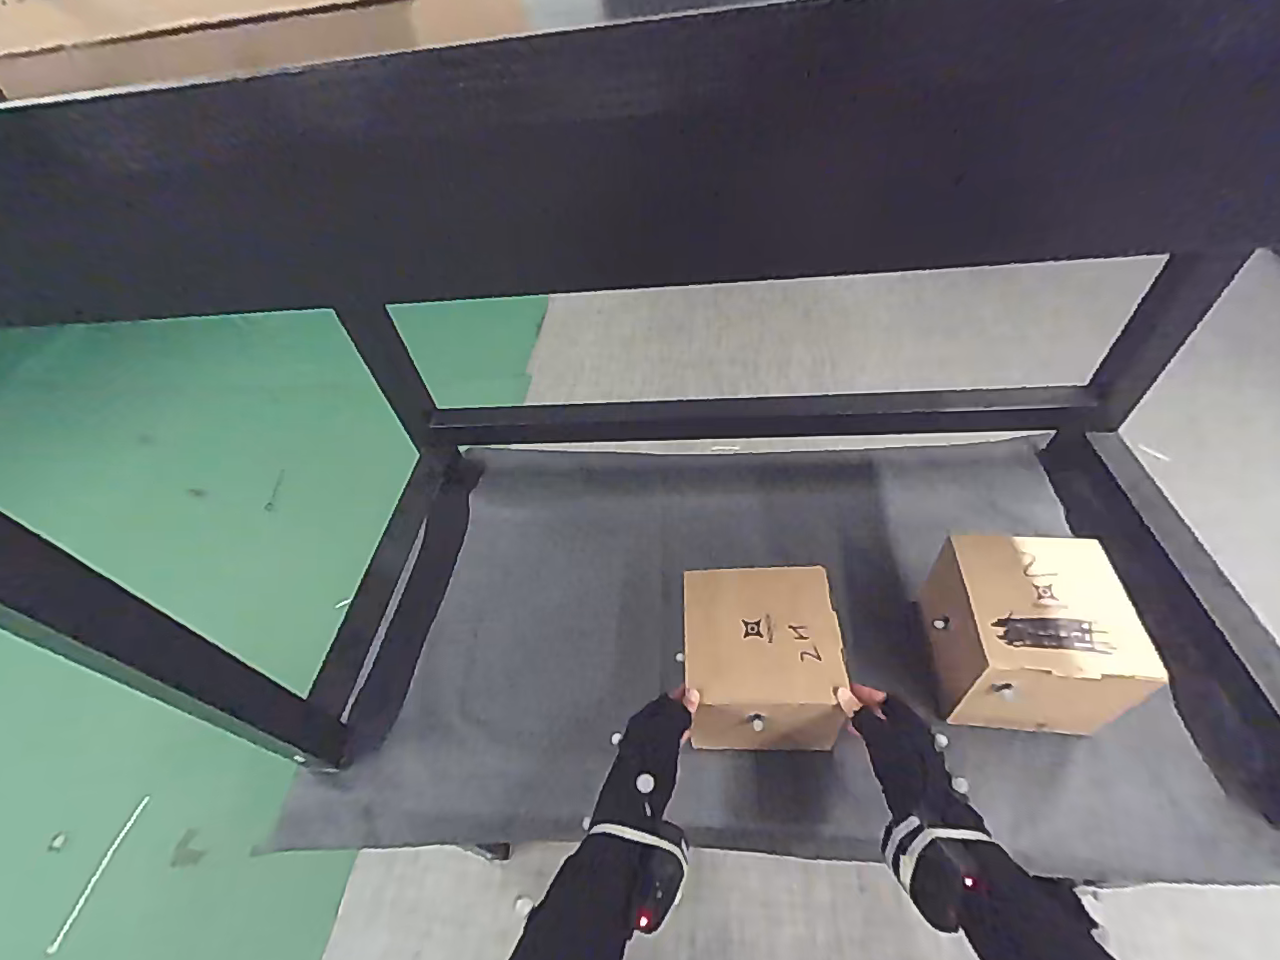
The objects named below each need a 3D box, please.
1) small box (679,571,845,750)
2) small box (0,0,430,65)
[{"bbox_3d":[0.144,0.230,0.682,0.179,0.176,0.168,-2,49,7],"label":"small box"},{"bbox_3d":[-0.163,-0.265,0.186,0.168,0.176,0.179,-2,48,7],"label":"small box"}]
